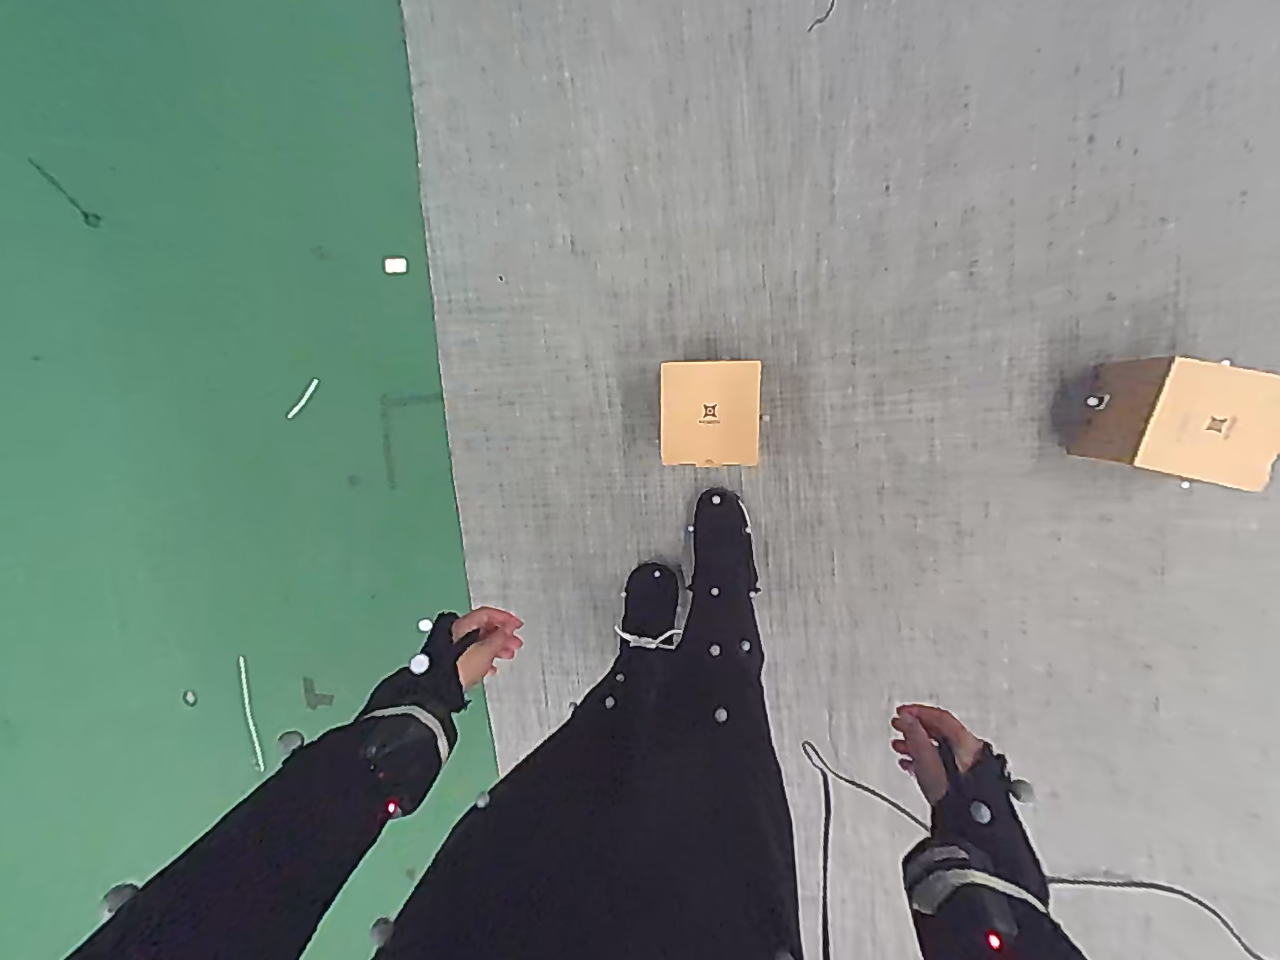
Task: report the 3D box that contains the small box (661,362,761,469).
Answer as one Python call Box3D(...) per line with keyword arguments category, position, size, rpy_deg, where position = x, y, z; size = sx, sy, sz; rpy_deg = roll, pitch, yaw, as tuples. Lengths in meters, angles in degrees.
Box3D(category="small box", position=(0.128, -0.118, 0.978), size=(0.168, 0.176, 0.179), rpy_deg=(1, 99, 10))

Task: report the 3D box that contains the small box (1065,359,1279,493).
Box3D(category="small box", position=(0.838, -0.089, 0.857), size=(0.179, 0.176, 0.168), rpy_deg=(13, 100, 9))
